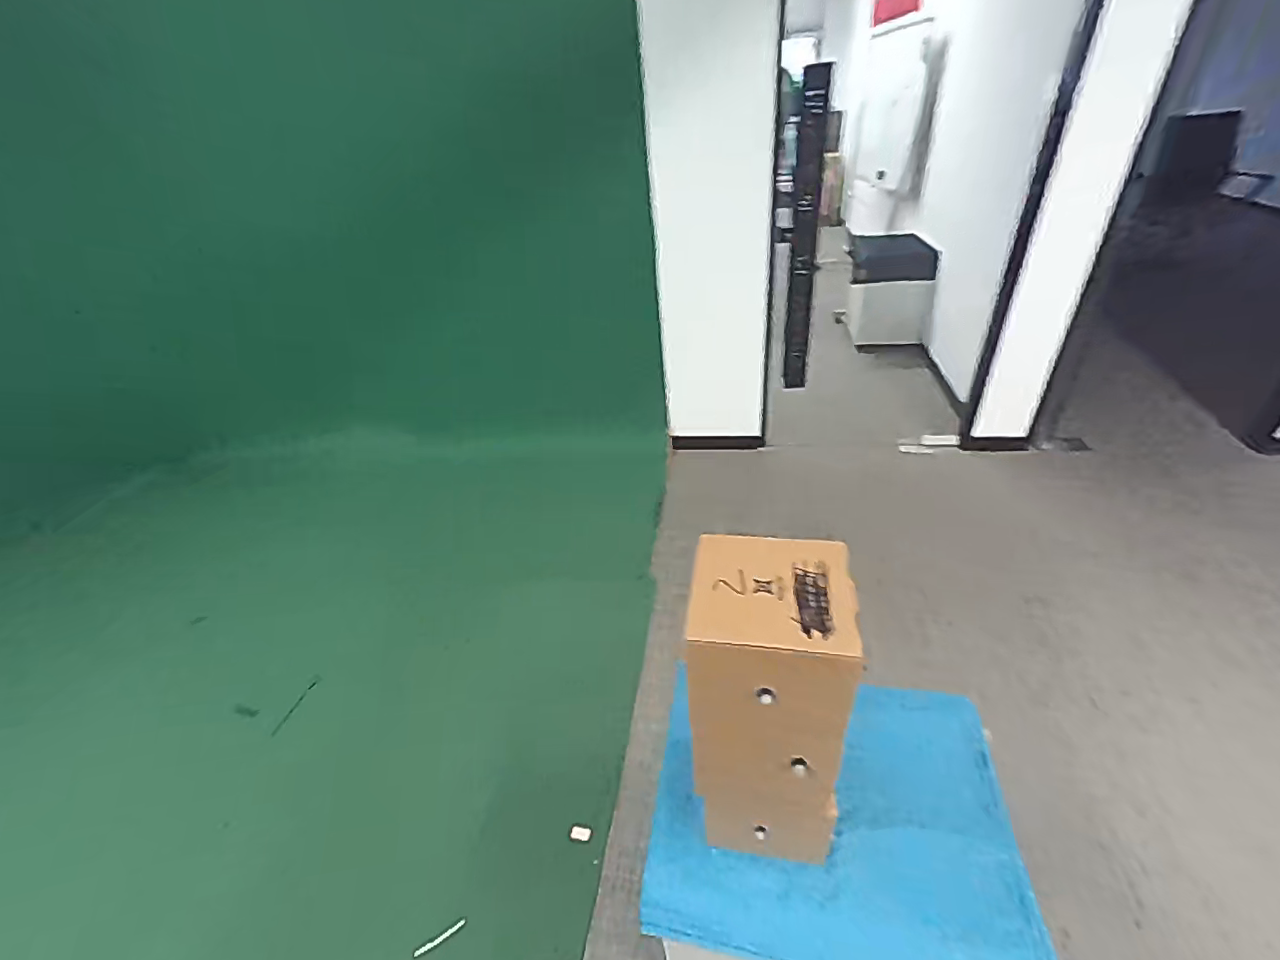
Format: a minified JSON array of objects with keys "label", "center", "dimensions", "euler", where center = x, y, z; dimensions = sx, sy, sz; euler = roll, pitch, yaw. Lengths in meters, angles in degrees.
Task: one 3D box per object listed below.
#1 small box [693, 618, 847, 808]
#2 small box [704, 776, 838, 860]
[{"label":"small box","center":[0.169,0.312,0.729],"dimensions":[0.179,0.176,0.168],"euler":[3,35,12]},{"label":"small box","center":[0.193,0.446,0.823],"dimensions":[0.179,0.176,0.168],"euler":[2,36,12]}]
